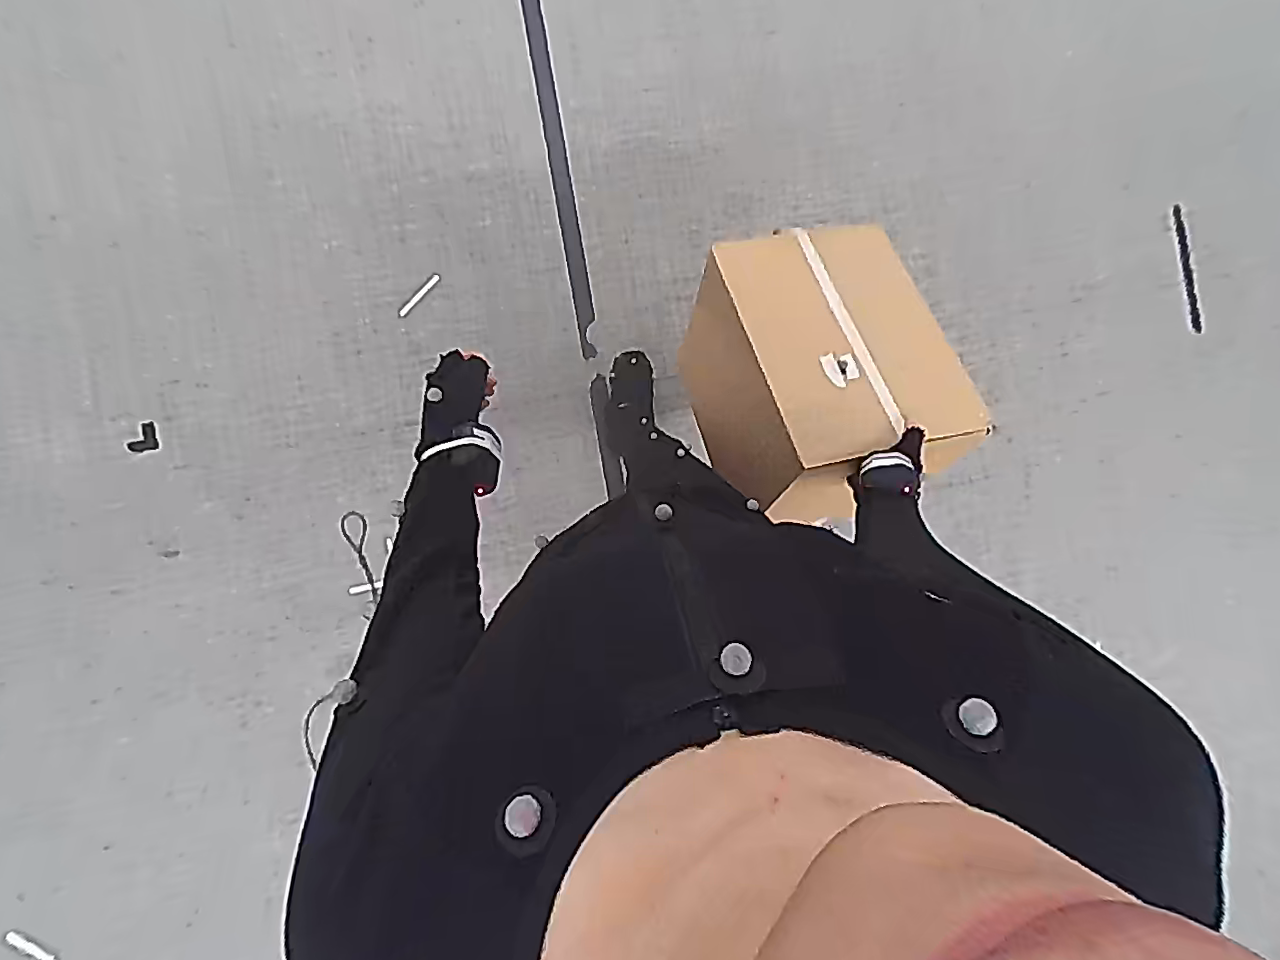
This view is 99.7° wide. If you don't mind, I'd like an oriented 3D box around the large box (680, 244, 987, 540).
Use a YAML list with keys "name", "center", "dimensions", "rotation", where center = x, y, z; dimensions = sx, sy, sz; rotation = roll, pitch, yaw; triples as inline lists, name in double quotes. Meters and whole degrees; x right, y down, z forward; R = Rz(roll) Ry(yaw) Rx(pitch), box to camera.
- name: "large box"
  center: [0.297, -0.151, 0.972]
  dimensions: [0.320, 0.320, 0.408]
  rotation: [-11, 67, -12]
